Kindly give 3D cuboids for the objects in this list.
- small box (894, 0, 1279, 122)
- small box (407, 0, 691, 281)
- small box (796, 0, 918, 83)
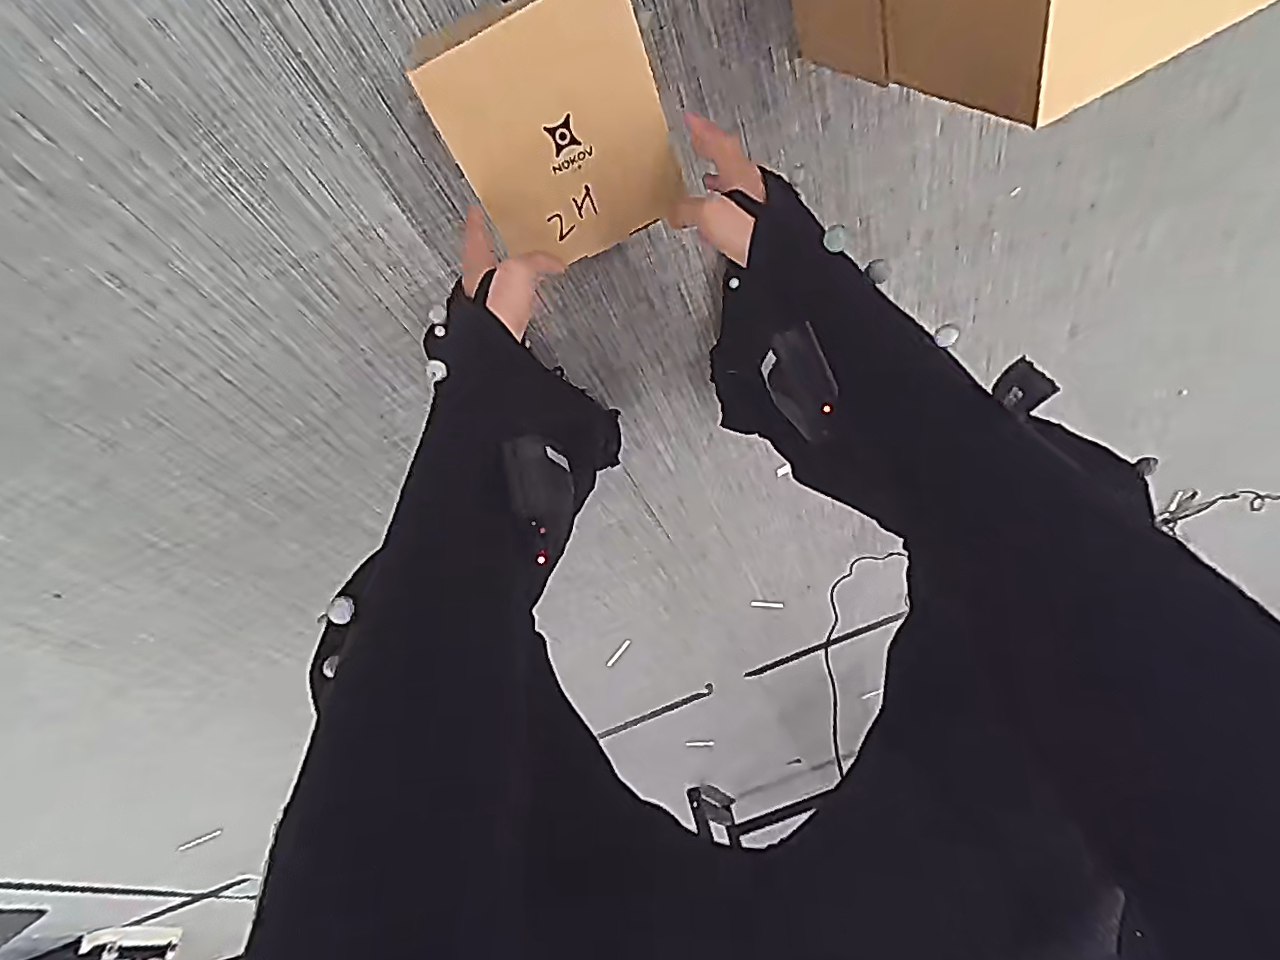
[{"bbox_3d":[0.268,-0.358,0.317,0.168,0.176,0.179,-27,135,7],"label":"small box"},{"bbox_3d":[-0.077,-0.316,0.471,0.168,0.176,0.179,-25,136,5],"label":"small box"},{"bbox_3d":[0.226,-0.466,0.430,0.168,0.176,0.179,-27,135,8],"label":"small box"}]
